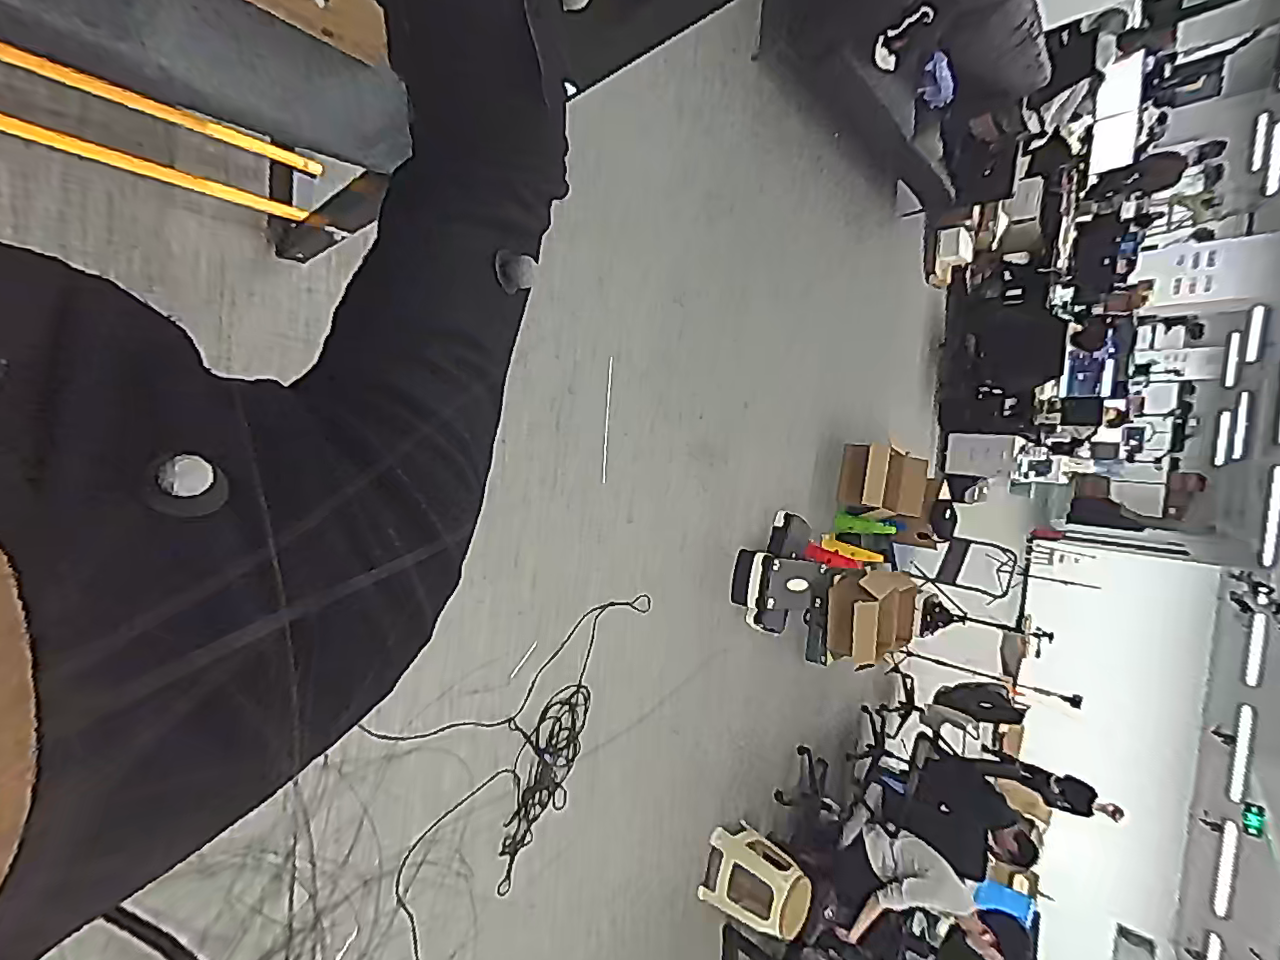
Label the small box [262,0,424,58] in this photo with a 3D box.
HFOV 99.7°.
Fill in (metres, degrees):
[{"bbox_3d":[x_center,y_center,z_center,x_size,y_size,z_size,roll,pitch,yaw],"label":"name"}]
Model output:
[{"bbox_3d":[-0.347,-0.625,0.596,0.168,0.176,0.179,0,94,-47],"label":"small box"}]
